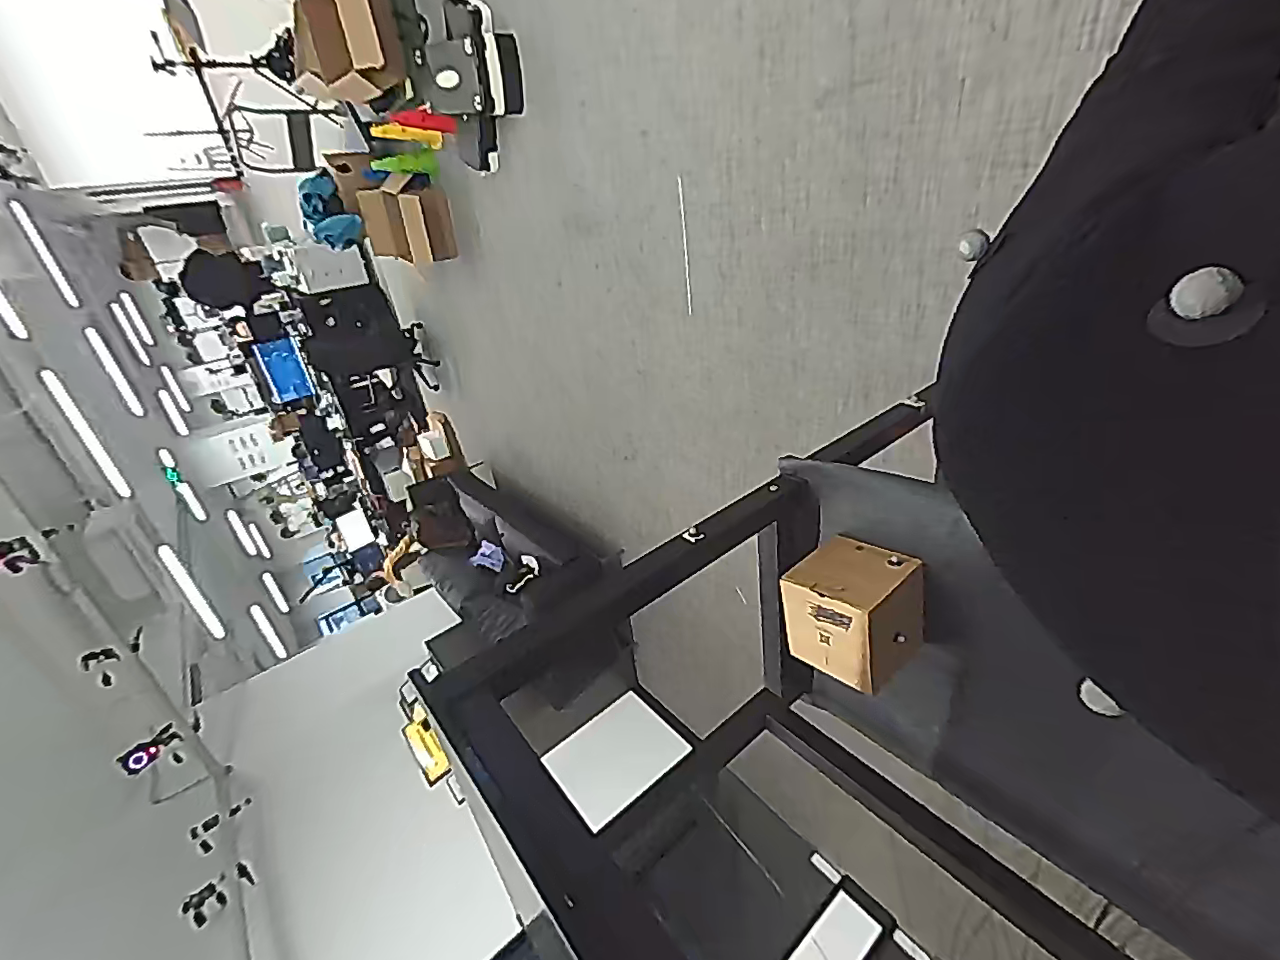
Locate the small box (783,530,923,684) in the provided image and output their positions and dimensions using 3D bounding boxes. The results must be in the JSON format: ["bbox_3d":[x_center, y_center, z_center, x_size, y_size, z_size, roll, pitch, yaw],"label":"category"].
[{"bbox_3d":[0.377,0.211,0.952,0.168,0.176,0.179,19,129,50],"label":"small box"}]
